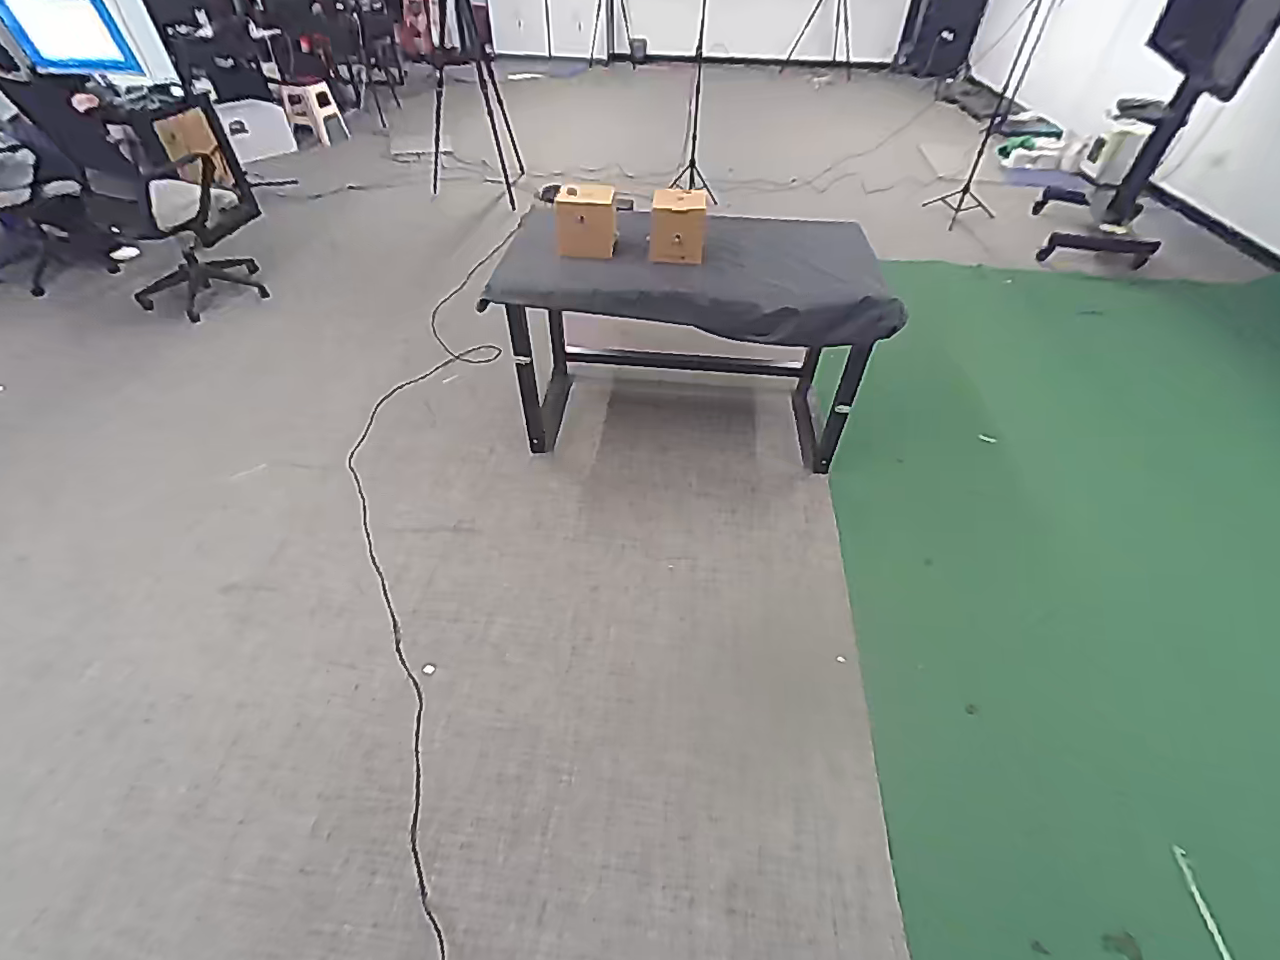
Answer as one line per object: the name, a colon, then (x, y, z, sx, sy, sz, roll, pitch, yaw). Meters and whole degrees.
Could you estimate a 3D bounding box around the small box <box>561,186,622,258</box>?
small box: (-0.152, -0.839, 1.759, 0.179, 0.176, 0.168, 4, 46, 1)

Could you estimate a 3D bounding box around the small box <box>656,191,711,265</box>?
small box: (0.139, -0.810, 1.741, 0.168, 0.176, 0.179, 5, 46, 3)
